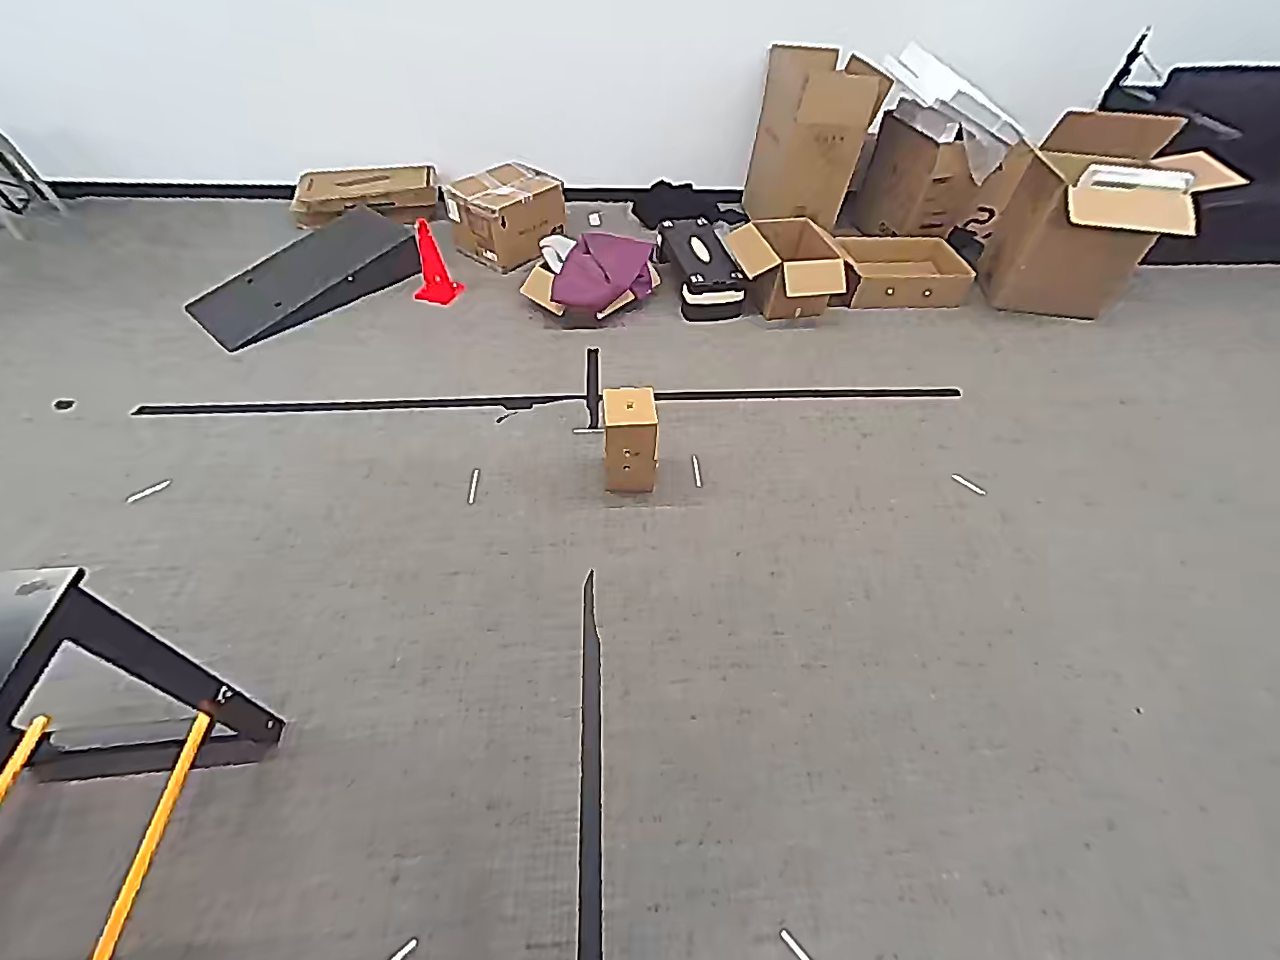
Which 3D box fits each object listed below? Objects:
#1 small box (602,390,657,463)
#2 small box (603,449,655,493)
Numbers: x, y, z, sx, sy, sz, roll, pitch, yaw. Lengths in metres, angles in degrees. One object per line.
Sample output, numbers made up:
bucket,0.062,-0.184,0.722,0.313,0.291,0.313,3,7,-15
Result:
small box,-0.040,-0.175,1.789,0.168,0.176,0.179,-4,51,-5
small box,-0.041,-0.069,1.912,0.179,0.176,0.168,1,50,-4
